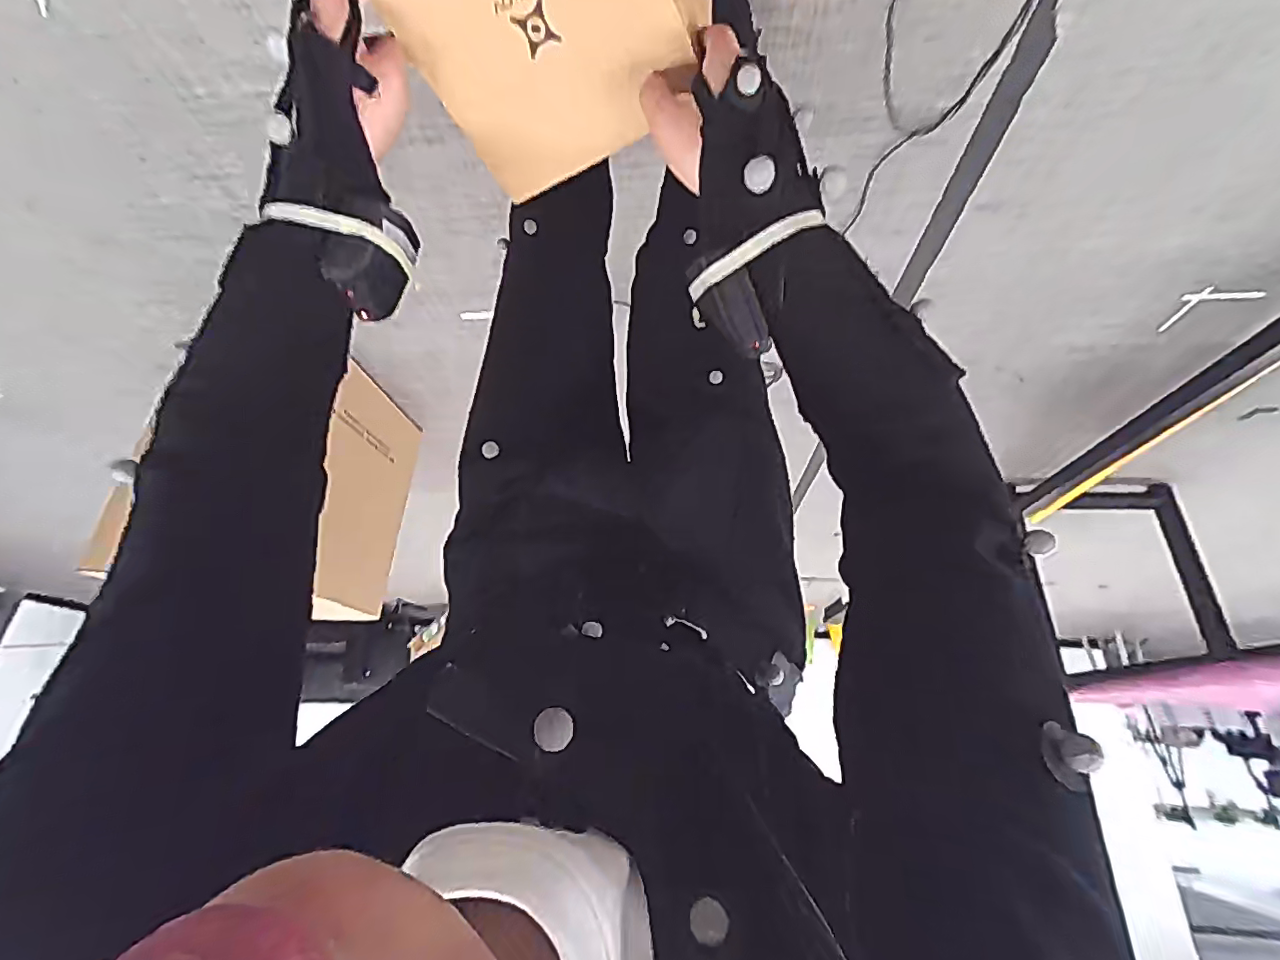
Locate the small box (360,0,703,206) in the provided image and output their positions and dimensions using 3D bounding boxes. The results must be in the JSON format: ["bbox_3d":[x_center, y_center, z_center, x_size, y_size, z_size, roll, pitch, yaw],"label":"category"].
[{"bbox_3d":[-0.061,-0.338,0.367,0.168,0.176,0.179,-14,142,25],"label":"small box"}]
